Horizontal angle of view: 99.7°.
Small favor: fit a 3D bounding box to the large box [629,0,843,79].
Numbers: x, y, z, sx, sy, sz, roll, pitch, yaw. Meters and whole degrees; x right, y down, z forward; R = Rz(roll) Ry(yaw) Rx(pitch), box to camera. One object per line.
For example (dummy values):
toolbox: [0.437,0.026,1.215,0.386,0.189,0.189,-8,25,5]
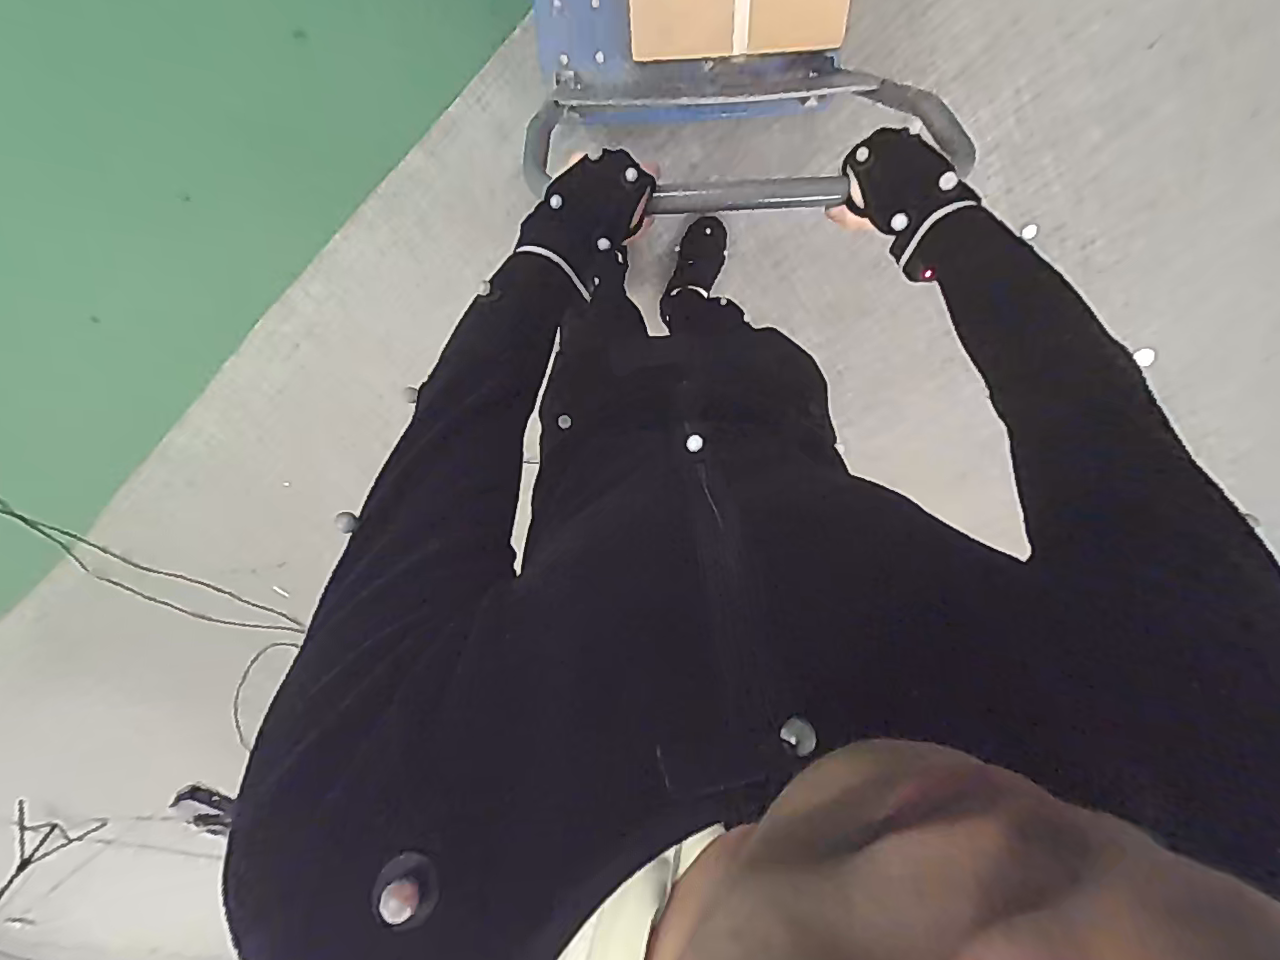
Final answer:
large box: [0.131,-0.873,0.825,0.320,0.320,0.408,-3,127,0]
